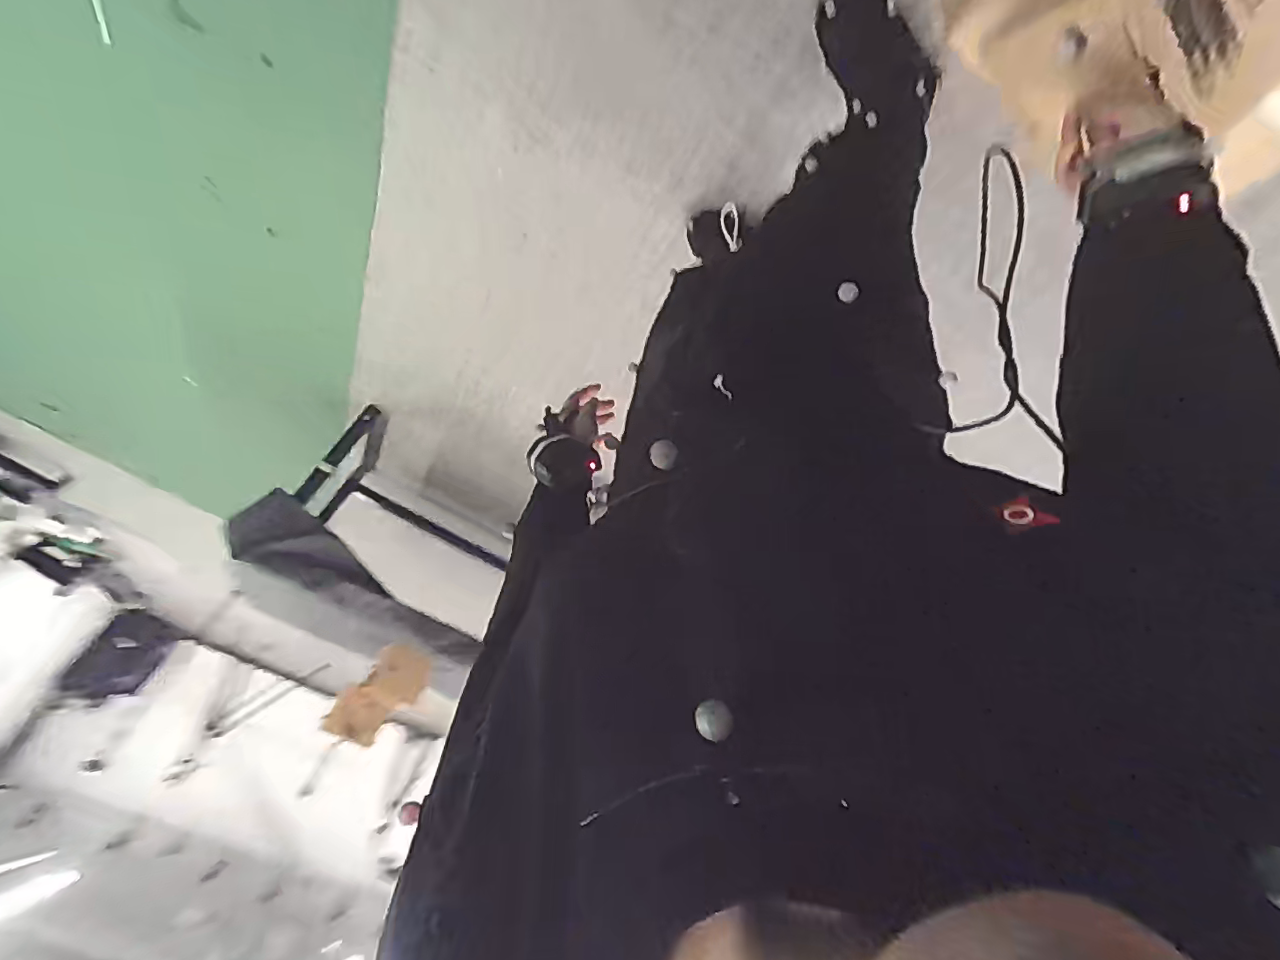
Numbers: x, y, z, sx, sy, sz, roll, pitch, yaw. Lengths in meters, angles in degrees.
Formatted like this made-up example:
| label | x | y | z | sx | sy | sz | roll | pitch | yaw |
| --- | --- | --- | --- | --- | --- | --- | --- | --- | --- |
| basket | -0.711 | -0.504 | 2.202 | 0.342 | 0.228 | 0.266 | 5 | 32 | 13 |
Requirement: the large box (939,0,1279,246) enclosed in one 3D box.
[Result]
| label | x | y | z | sx | sy | sz | roll | pitch | yaw |
| --- | --- | --- | --- | --- | --- | --- | --- | --- | --- |
| large box | 0.639 | -0.586 | 0.652 | 0.408 | 0.320 | 0.320 | 31 | 143 | -14 |

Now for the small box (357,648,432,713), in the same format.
| label | x | y | z | sx | sy | sz | roll | pitch | yaw |
| --- | --- | --- | --- | --- | --- | --- | --- | --- | --- |
| small box | -0.875 | 0.708 | 1.919 | 0.179 | 0.176 | 0.168 | 36 | 143 | -20 |

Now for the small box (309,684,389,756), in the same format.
| label | x | y | z | sx | sy | sz | roll | pitch | yaw |
| --- | --- | --- | --- | --- | --- | --- | --- | --- | --- |
| small box | -0.981 | 0.809 | 1.827 | 0.168 | 0.176 | 0.179 | 36 | 141 | -18 |
